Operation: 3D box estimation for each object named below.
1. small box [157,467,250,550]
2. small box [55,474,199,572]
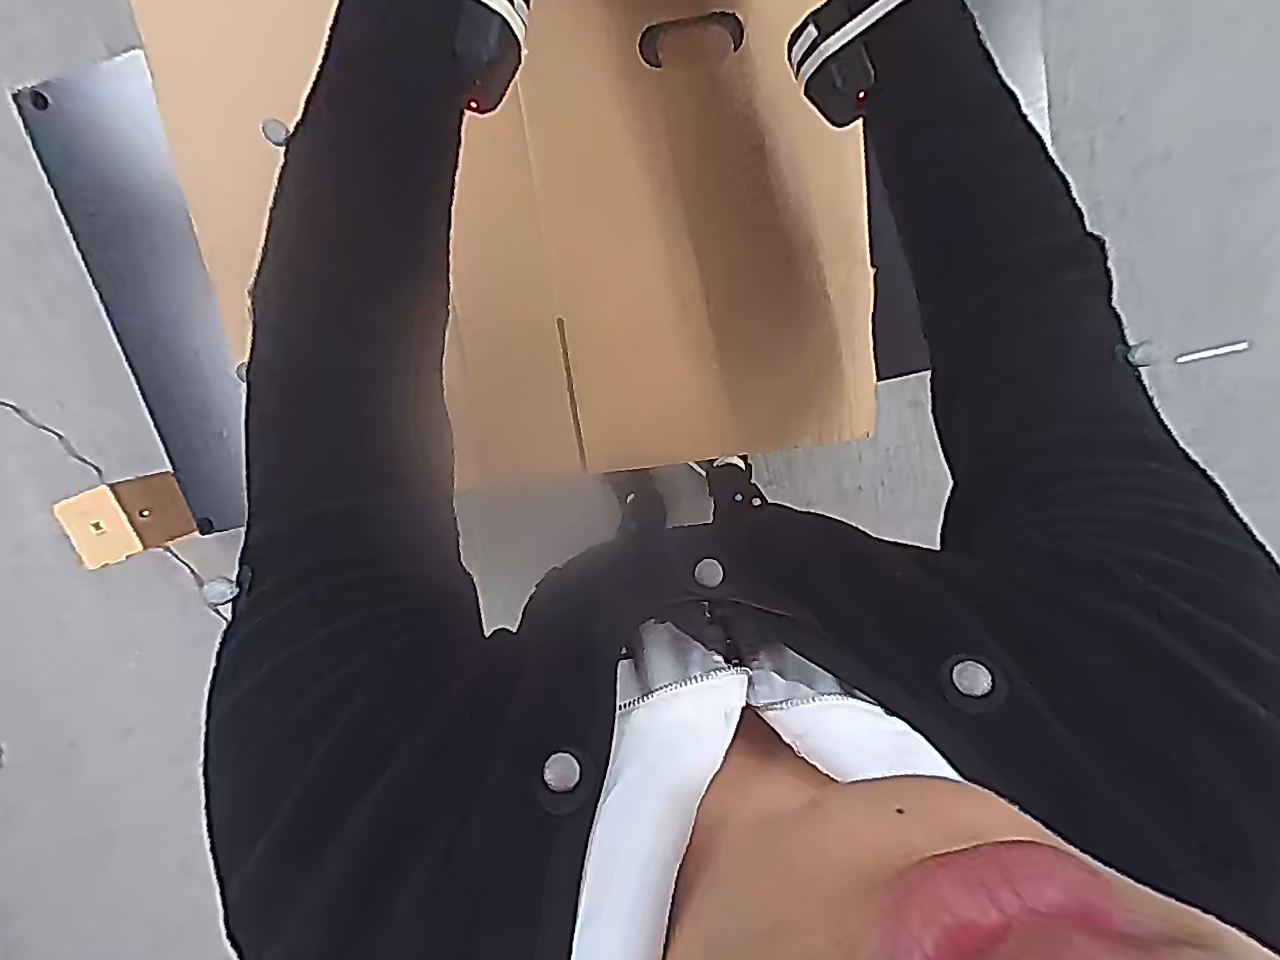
[{"bbox_3d":[-1.255,0.071,1.514,0.168,0.176,0.179,-16,102,8],"label":"small box"},{"bbox_3d":[-1.271,0.102,1.355,0.168,0.176,0.179,-20,99,8],"label":"small box"}]
